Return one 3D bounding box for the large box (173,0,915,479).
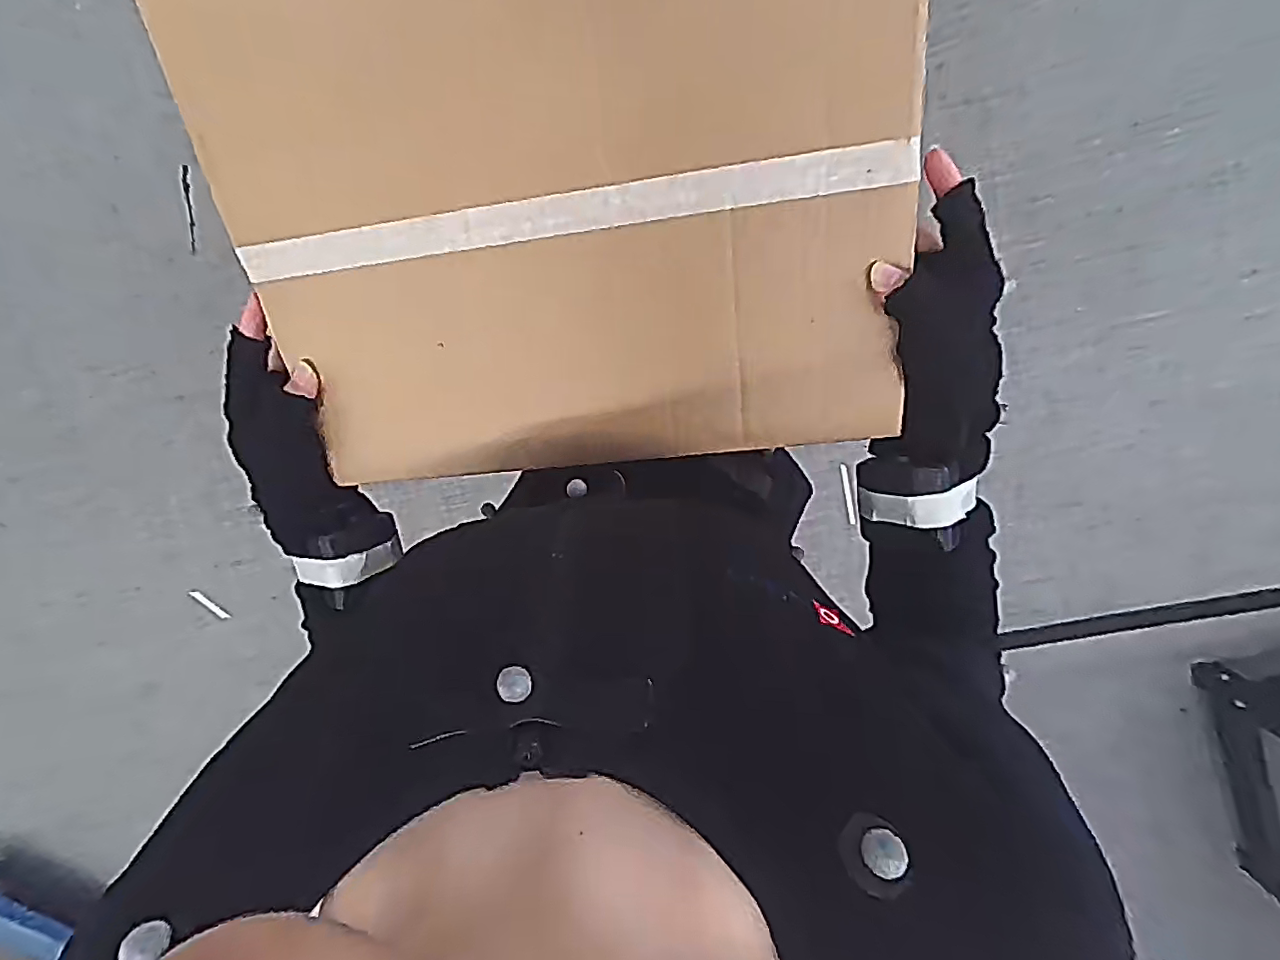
[{"bbox_3d":[-0.034,-0.218,0.464,0.408,0.320,0.320,-5,115,8],"label":"large box"}]
